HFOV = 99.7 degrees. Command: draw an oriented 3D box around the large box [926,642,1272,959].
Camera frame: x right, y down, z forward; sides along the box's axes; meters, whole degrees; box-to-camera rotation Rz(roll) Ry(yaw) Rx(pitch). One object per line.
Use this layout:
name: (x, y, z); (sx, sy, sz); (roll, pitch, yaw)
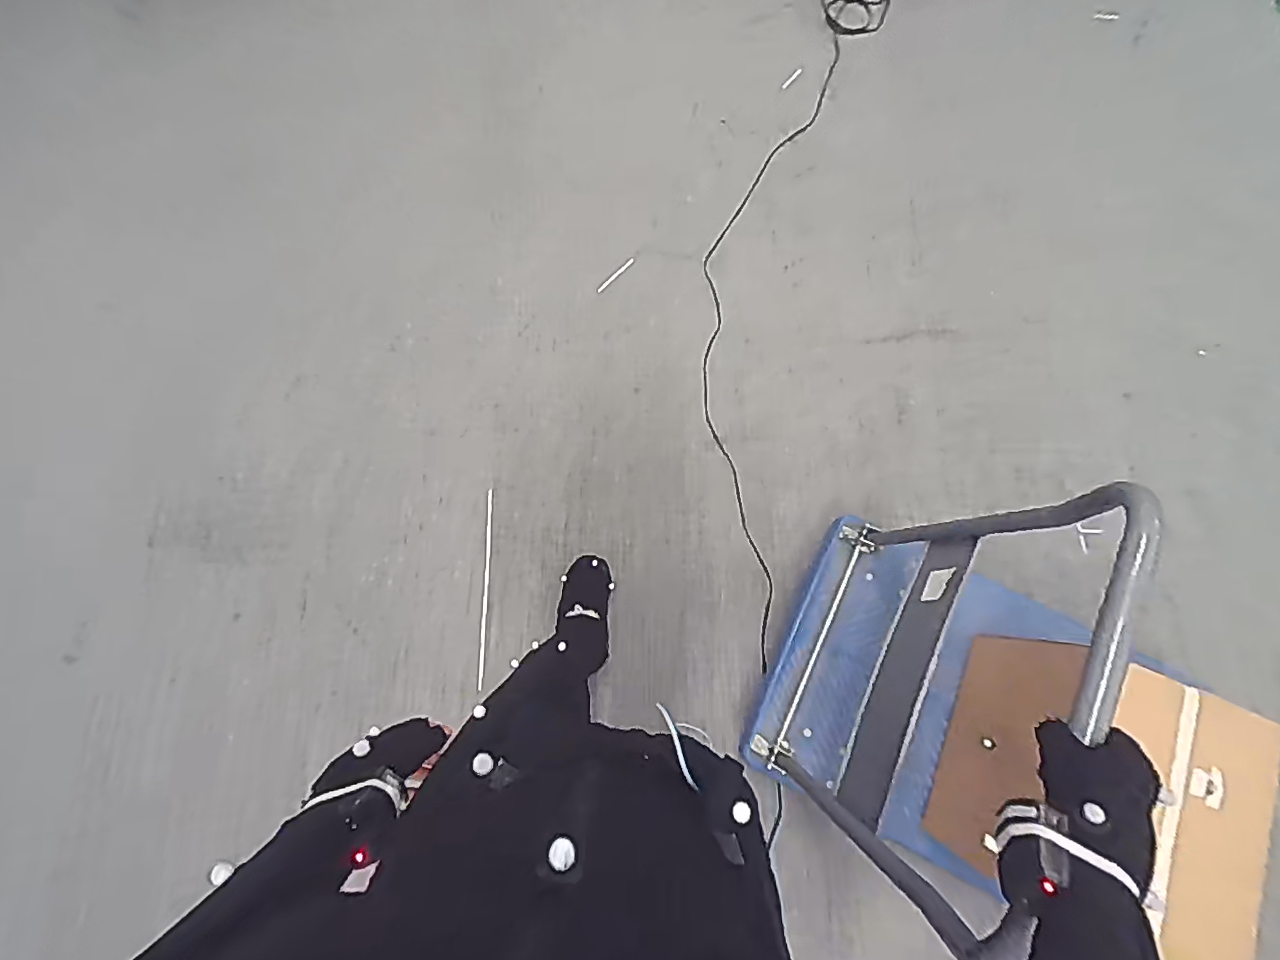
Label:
large box: (0.773, 0.542, 0.955); (0.320, 0.320, 0.408); (23, 77, 3)
